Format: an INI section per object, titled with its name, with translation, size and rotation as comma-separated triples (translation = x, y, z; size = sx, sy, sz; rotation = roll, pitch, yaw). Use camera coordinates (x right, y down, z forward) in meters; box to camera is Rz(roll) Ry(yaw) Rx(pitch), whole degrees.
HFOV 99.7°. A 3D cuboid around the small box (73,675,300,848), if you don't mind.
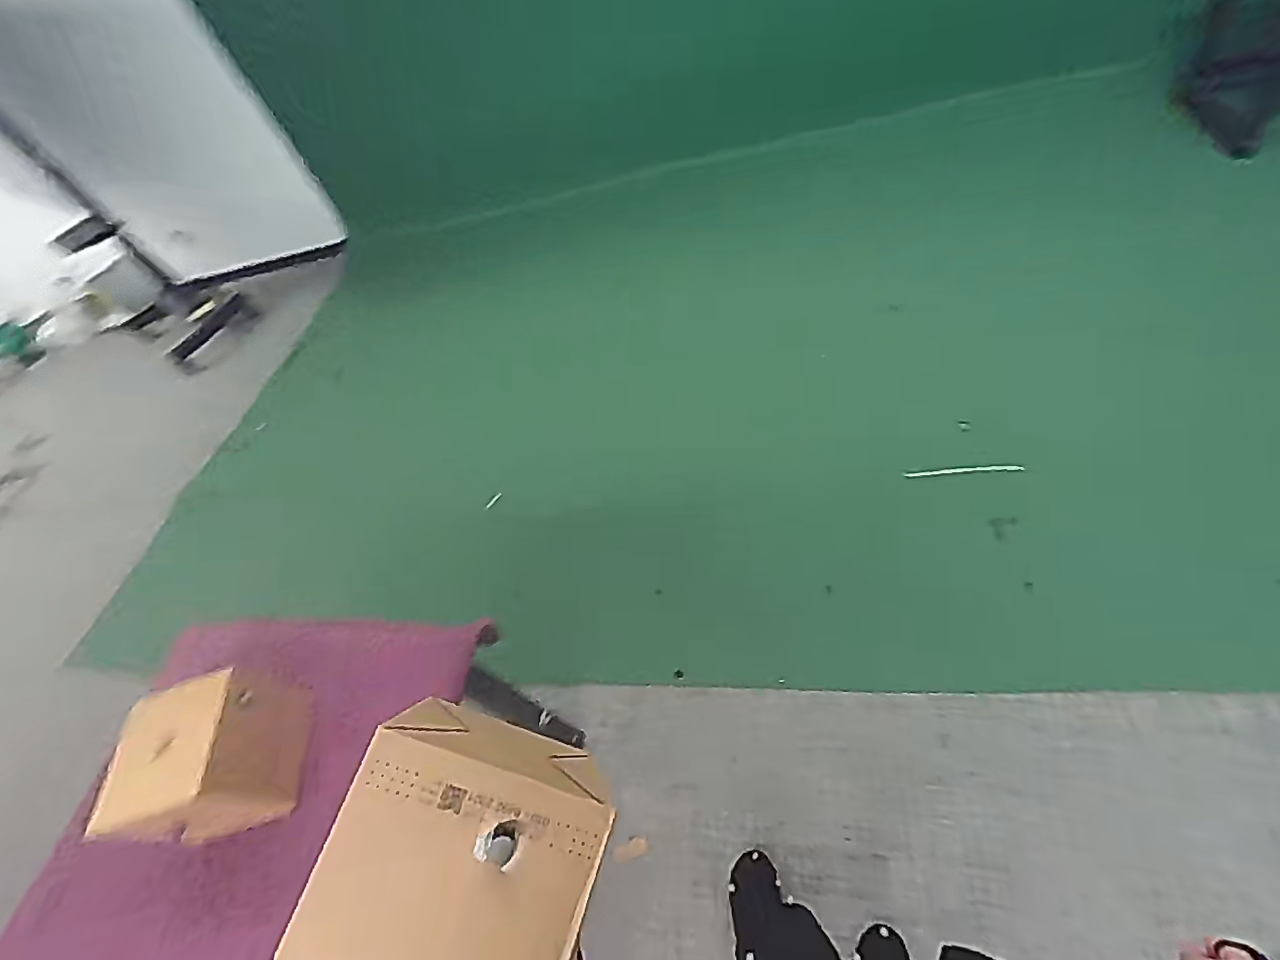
[small box]
translation = -0.639, 0.418, 0.793
size = 0.168, 0.176, 0.179
rotation = -21, 49, 3
